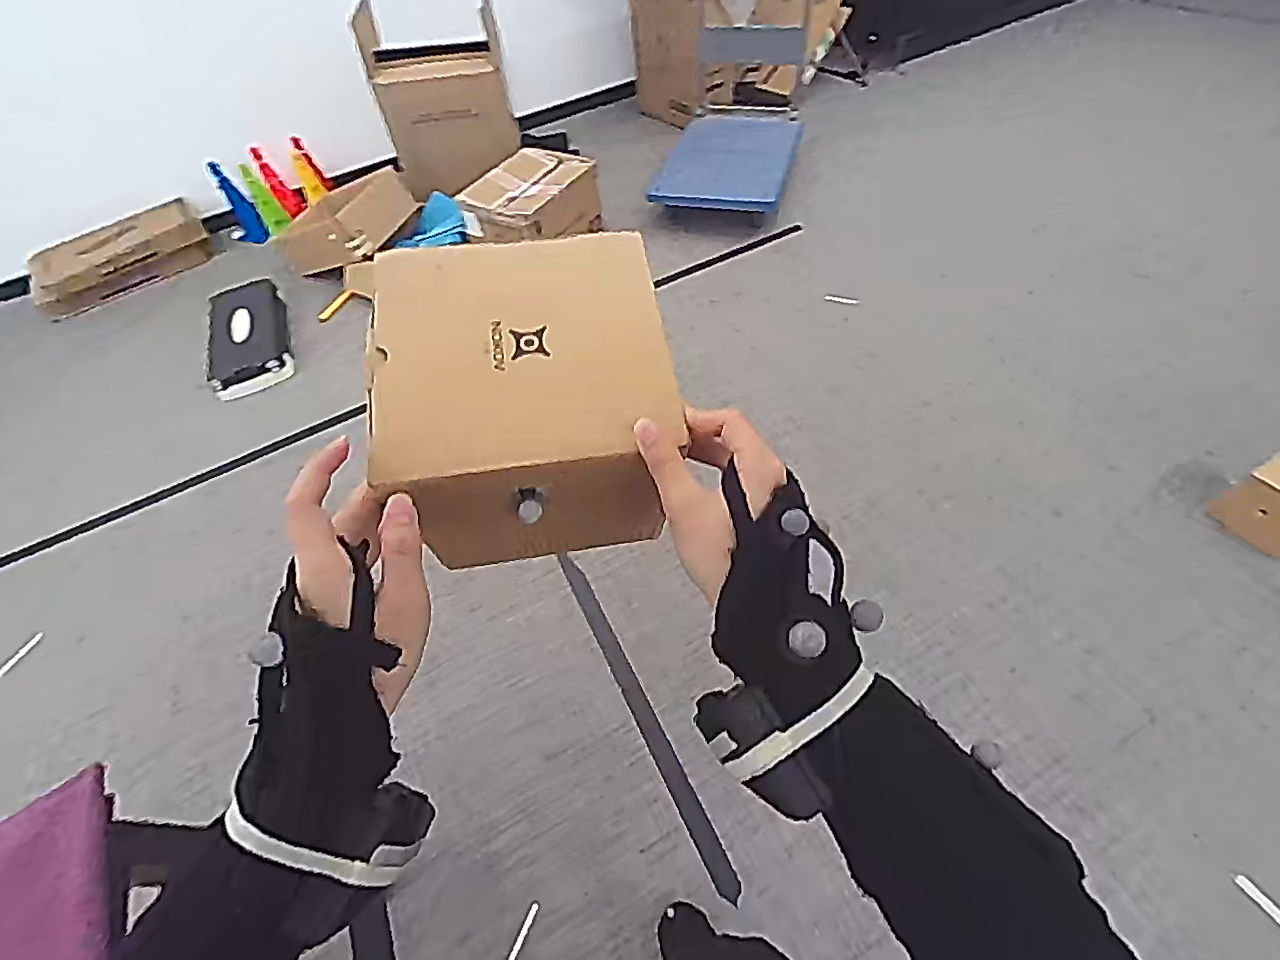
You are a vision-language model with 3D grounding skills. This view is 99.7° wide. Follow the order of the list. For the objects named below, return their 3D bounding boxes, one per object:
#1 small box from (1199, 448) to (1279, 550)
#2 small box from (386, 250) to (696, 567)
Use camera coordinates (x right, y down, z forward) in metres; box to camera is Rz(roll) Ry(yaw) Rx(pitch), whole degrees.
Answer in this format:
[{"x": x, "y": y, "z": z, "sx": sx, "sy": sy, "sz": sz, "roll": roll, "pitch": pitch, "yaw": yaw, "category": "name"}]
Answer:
[{"x": 1.615, "y": 0.055, "z": 1.374, "sx": 0.168, "sy": 0.176, "sz": 0.179, "roll": -26, "pitch": 54, "yaw": -12, "category": "small box"}, {"x": -0.068, "y": -0.042, "z": 0.406, "sx": 0.179, "sy": 0.176, "sz": 0.168, "roll": -8, "pitch": 66, "yaw": -6, "category": "small box"}]
